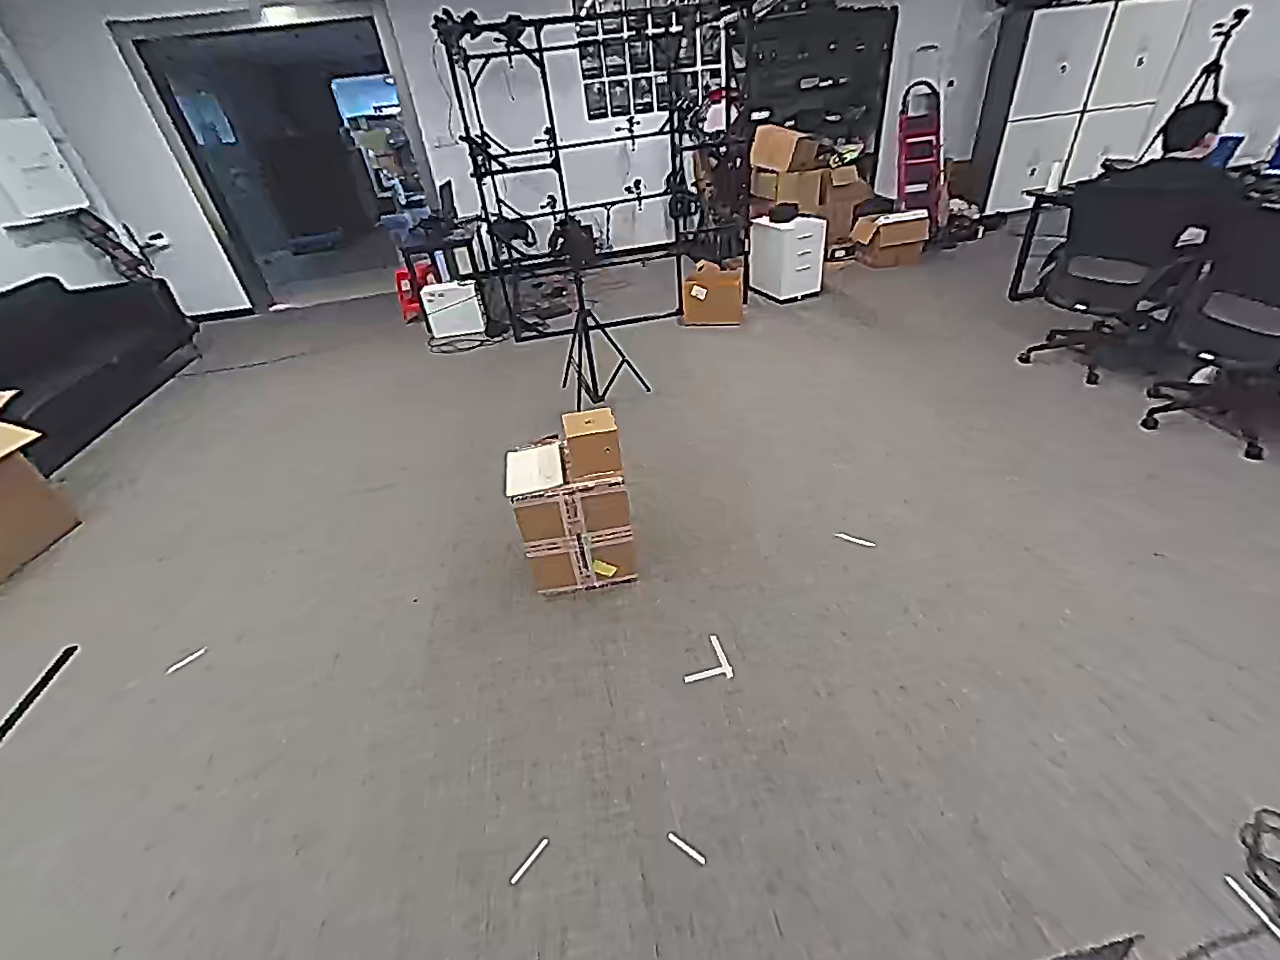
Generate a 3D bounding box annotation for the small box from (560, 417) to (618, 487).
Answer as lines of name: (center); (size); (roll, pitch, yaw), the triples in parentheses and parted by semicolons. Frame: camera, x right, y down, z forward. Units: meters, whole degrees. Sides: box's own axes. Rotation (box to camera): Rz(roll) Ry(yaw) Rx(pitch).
small box: (-0.175, -0.097, 1.891); (0.179, 0.176, 0.168); (-11, 36, -8)
